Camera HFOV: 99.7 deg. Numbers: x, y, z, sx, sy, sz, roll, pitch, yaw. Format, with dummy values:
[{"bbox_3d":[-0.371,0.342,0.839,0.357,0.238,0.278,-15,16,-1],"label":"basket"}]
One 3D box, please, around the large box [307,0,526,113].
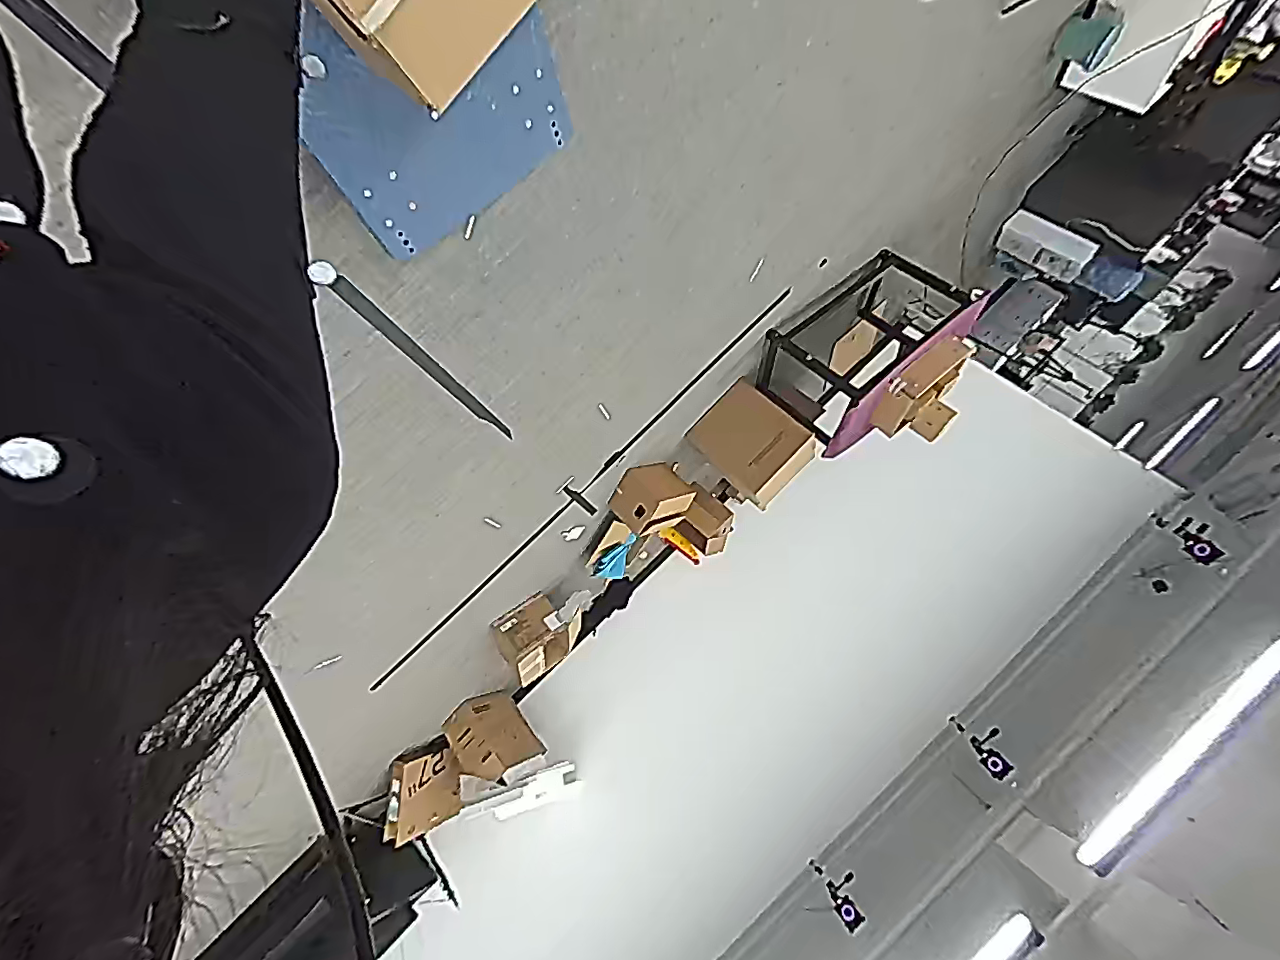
[{"bbox_3d":[-0.367,-0.895,0.821,0.408,0.320,0.320,-46,155,5],"label":"large box"}]
